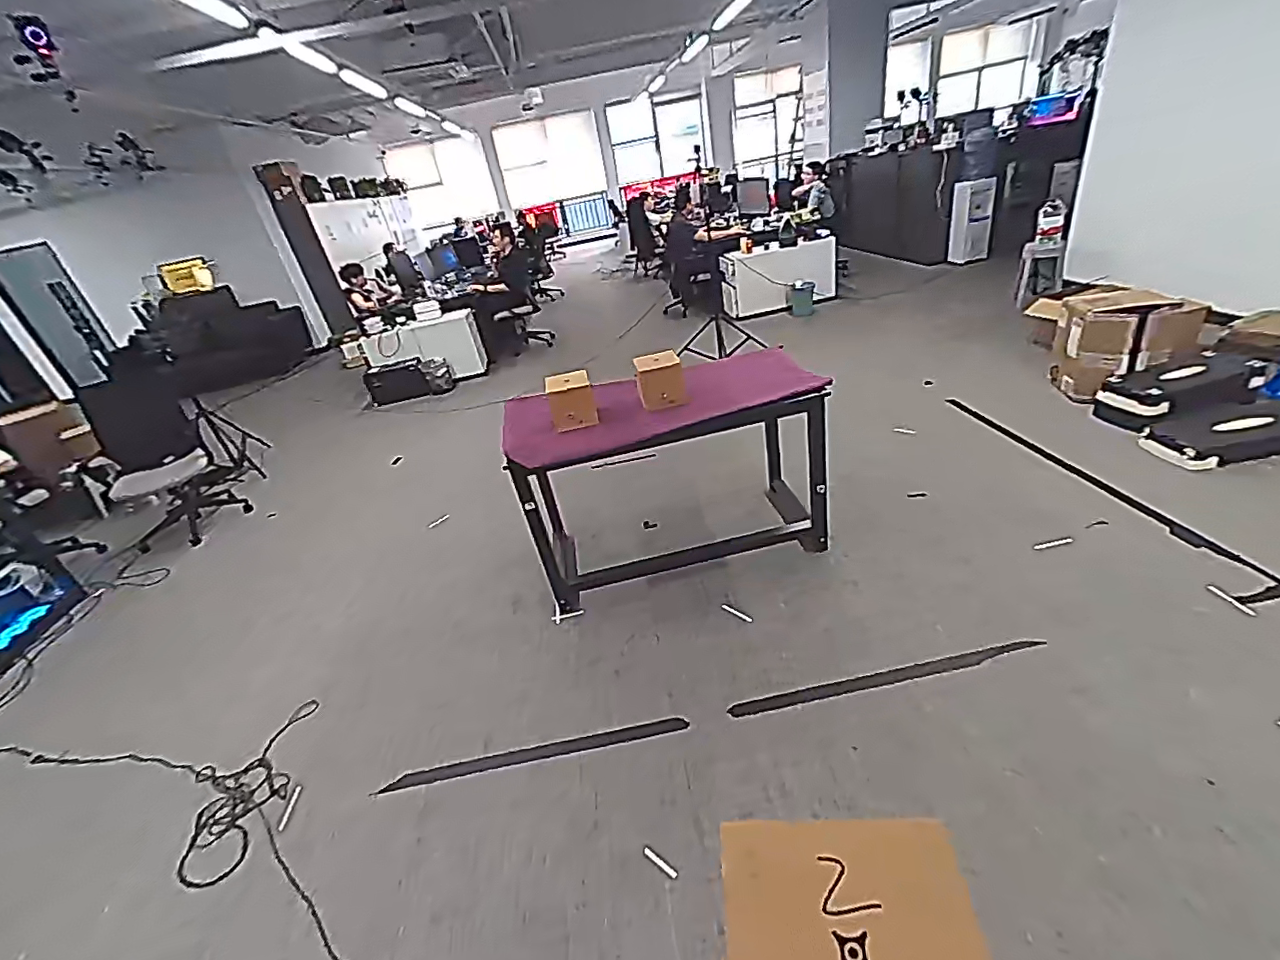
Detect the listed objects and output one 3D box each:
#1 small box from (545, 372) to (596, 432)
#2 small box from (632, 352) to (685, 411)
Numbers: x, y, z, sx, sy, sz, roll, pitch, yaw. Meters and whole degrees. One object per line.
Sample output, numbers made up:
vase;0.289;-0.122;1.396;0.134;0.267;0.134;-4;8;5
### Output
small box;-0.273;-0.304;2.109;0.168;0.176;0.179;-13;31;-4
small box;0.071;-0.387;2.127;0.168;0.176;0.179;-14;30;-2
